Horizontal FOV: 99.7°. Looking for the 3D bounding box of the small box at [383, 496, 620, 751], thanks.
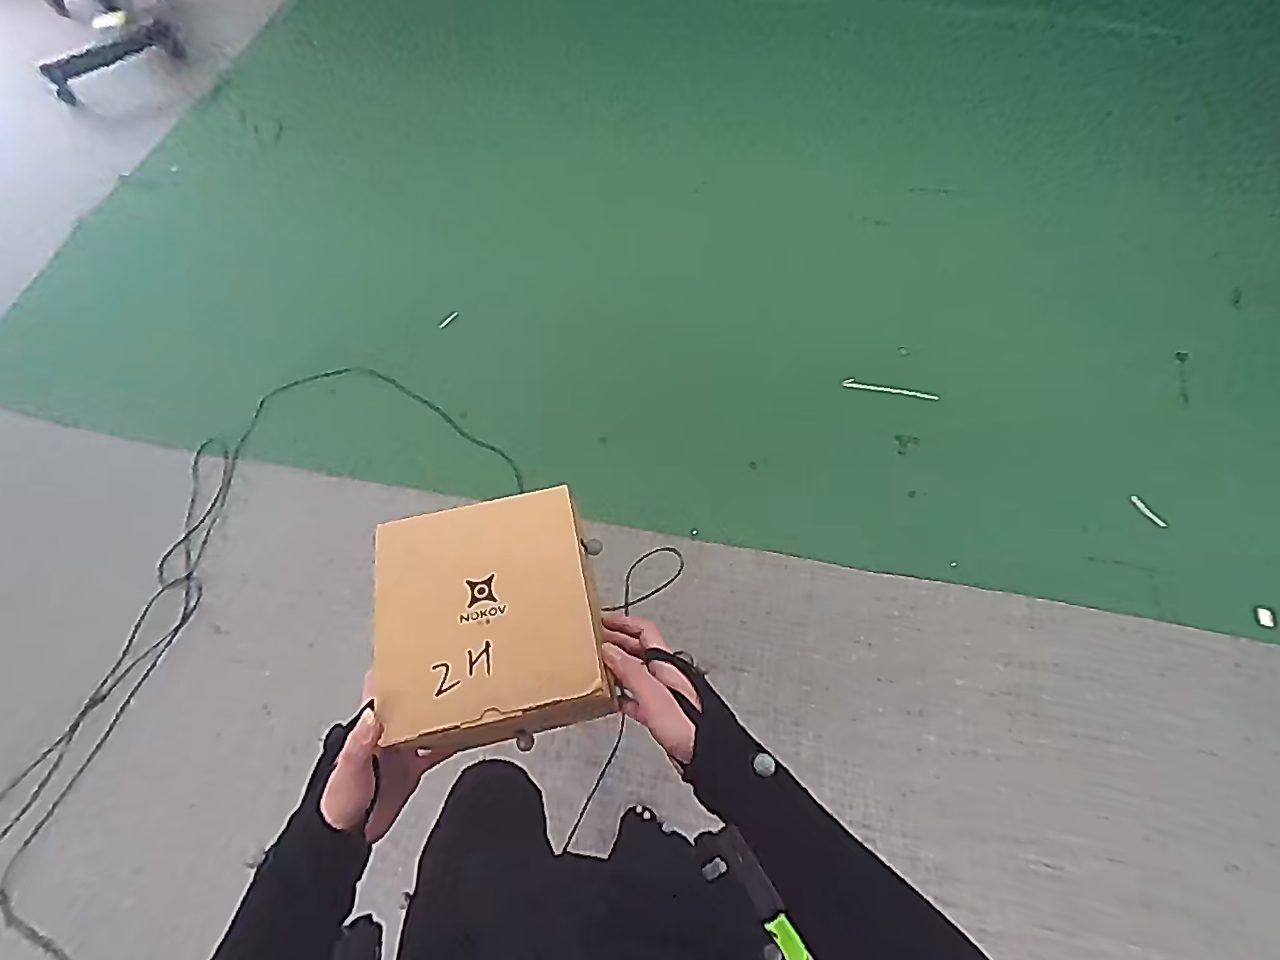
[{"bbox_3d":[-0.115,0.139,0.498,0.168,0.176,0.179,-10,63,-3],"label":"small box"}]
